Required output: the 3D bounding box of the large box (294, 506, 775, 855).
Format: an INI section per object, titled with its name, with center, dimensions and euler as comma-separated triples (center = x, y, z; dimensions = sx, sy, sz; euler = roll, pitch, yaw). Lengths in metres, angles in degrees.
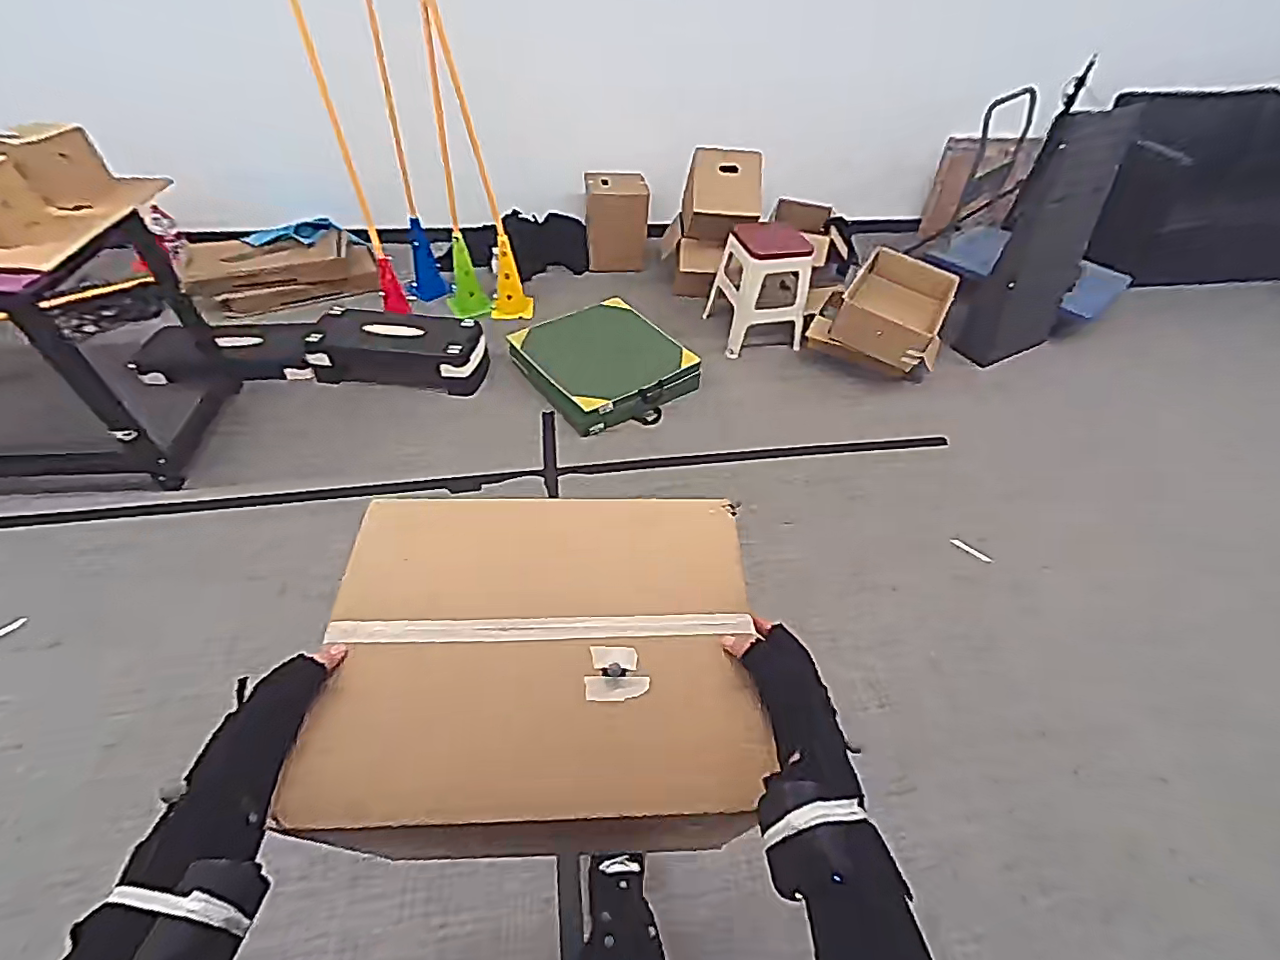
[large box]
center = -0.099, 0.244, 0.652
dimensions = 0.408, 0.320, 0.320
euler = 1, 52, -4
